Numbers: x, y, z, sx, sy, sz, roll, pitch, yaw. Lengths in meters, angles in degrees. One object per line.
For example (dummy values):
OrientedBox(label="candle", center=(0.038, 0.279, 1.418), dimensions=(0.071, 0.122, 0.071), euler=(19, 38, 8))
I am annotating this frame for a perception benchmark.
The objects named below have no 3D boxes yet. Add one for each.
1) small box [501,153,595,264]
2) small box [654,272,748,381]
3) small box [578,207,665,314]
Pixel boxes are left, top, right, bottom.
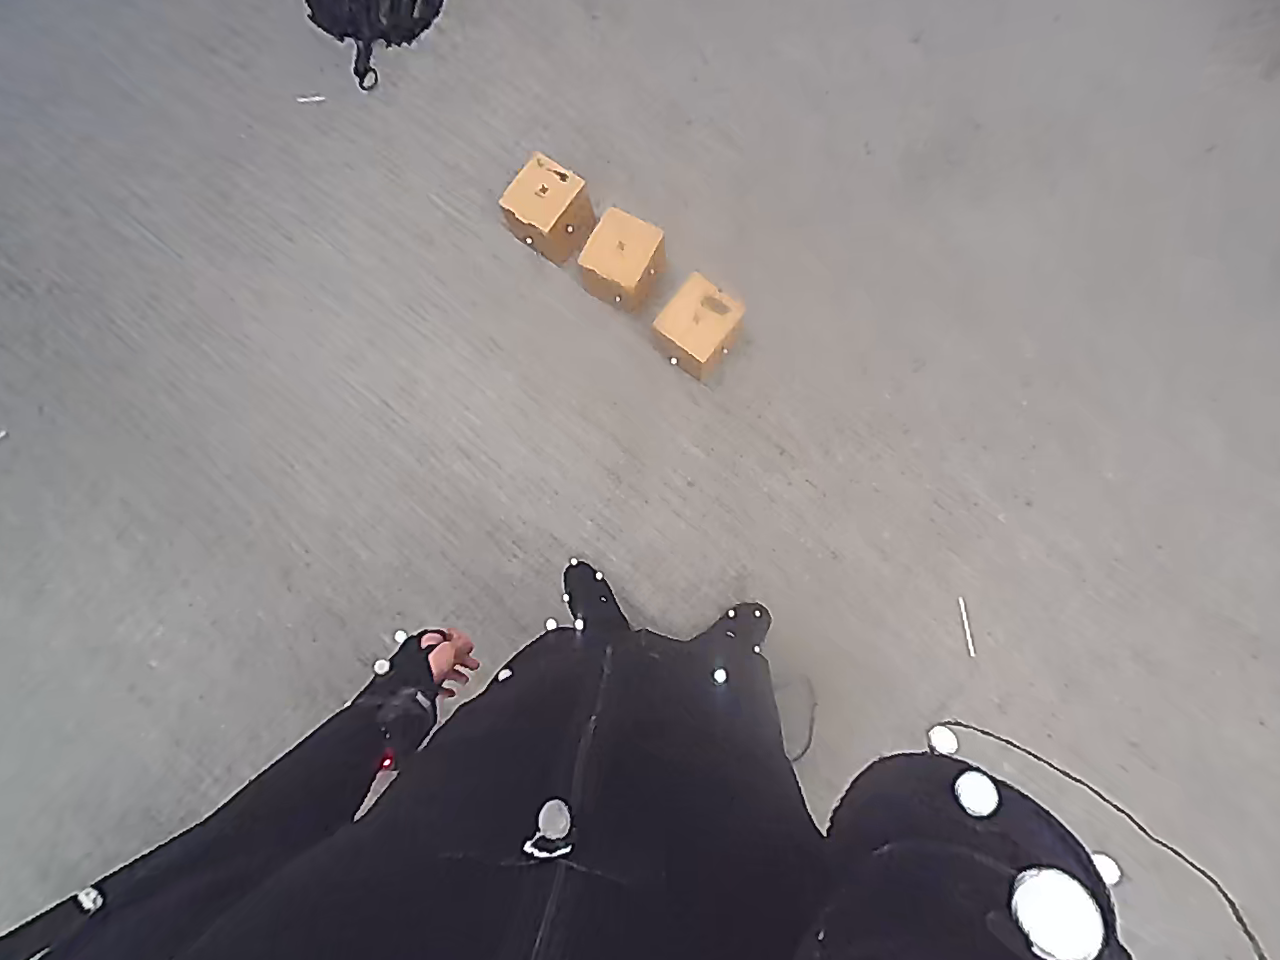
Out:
OrientedBox(label="small box", center=(-0.241, -0.729, 1.473), dimensions=(0.168, 0.176, 0.179), euler=(36, 87, 9))
OrientedBox(label="small box", center=(0.154, -0.386, 1.391), dimensions=(0.168, 0.176, 0.179), euler=(39, 88, 9))
OrientedBox(label="small box", center=(-0.040, -0.573, 1.436), dimensions=(0.168, 0.176, 0.179), euler=(28, 84, 7))
